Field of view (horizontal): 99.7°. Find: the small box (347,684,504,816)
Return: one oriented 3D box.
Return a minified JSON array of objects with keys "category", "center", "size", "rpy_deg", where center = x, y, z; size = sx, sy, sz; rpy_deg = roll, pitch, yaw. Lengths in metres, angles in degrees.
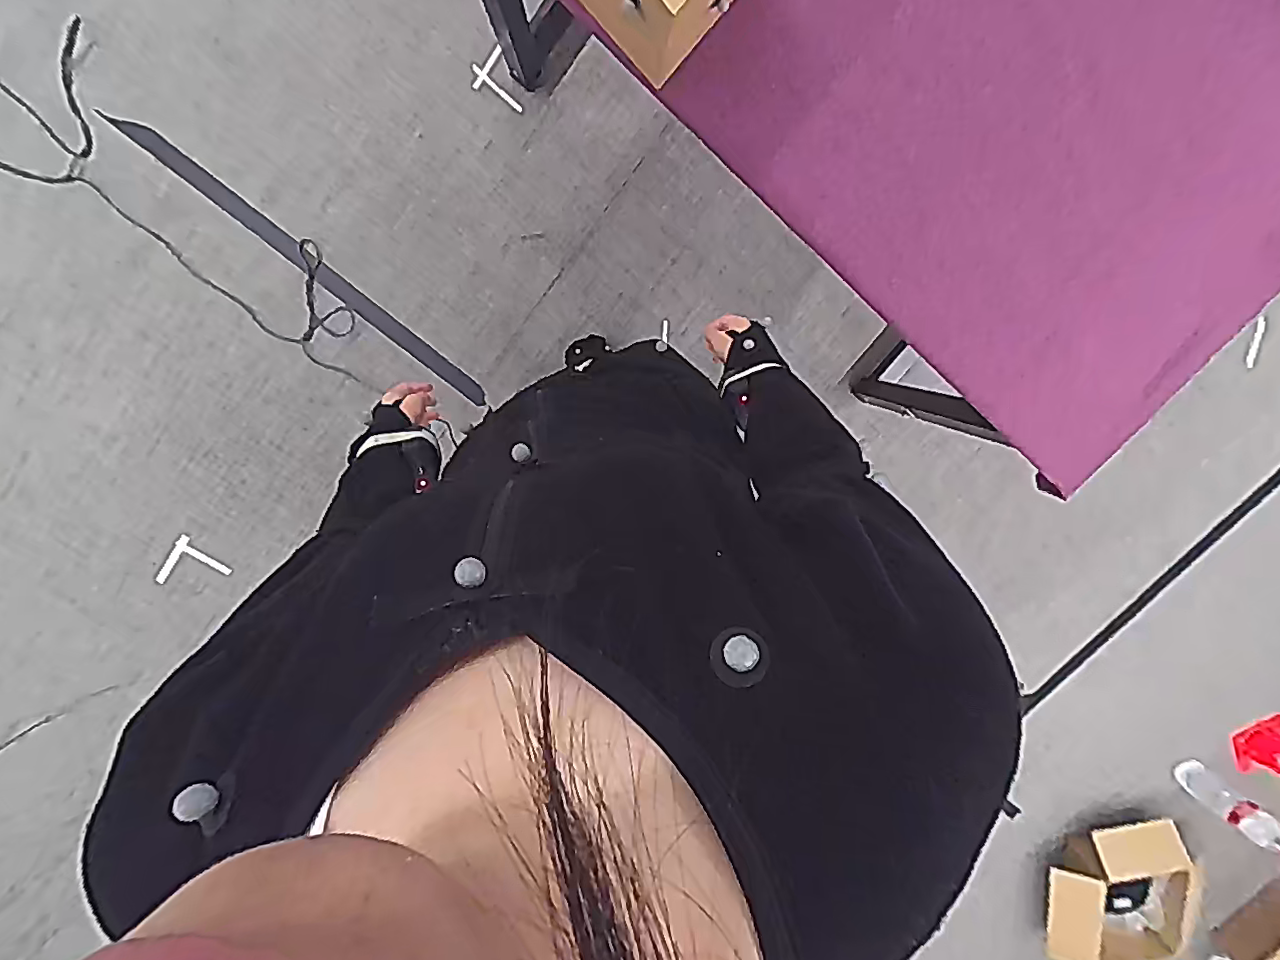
[{"category":"small box","center":[-0.360,0.502,0.944],"size":[0.168,0.176,0.179],"rpy_deg":[39,102,-14]}]

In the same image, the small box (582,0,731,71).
[{"category":"small box","center":[0.020,-0.542,0.516],"size":[0.179,0.176,0.168],"rpy_deg":[42,100,-14]}]
